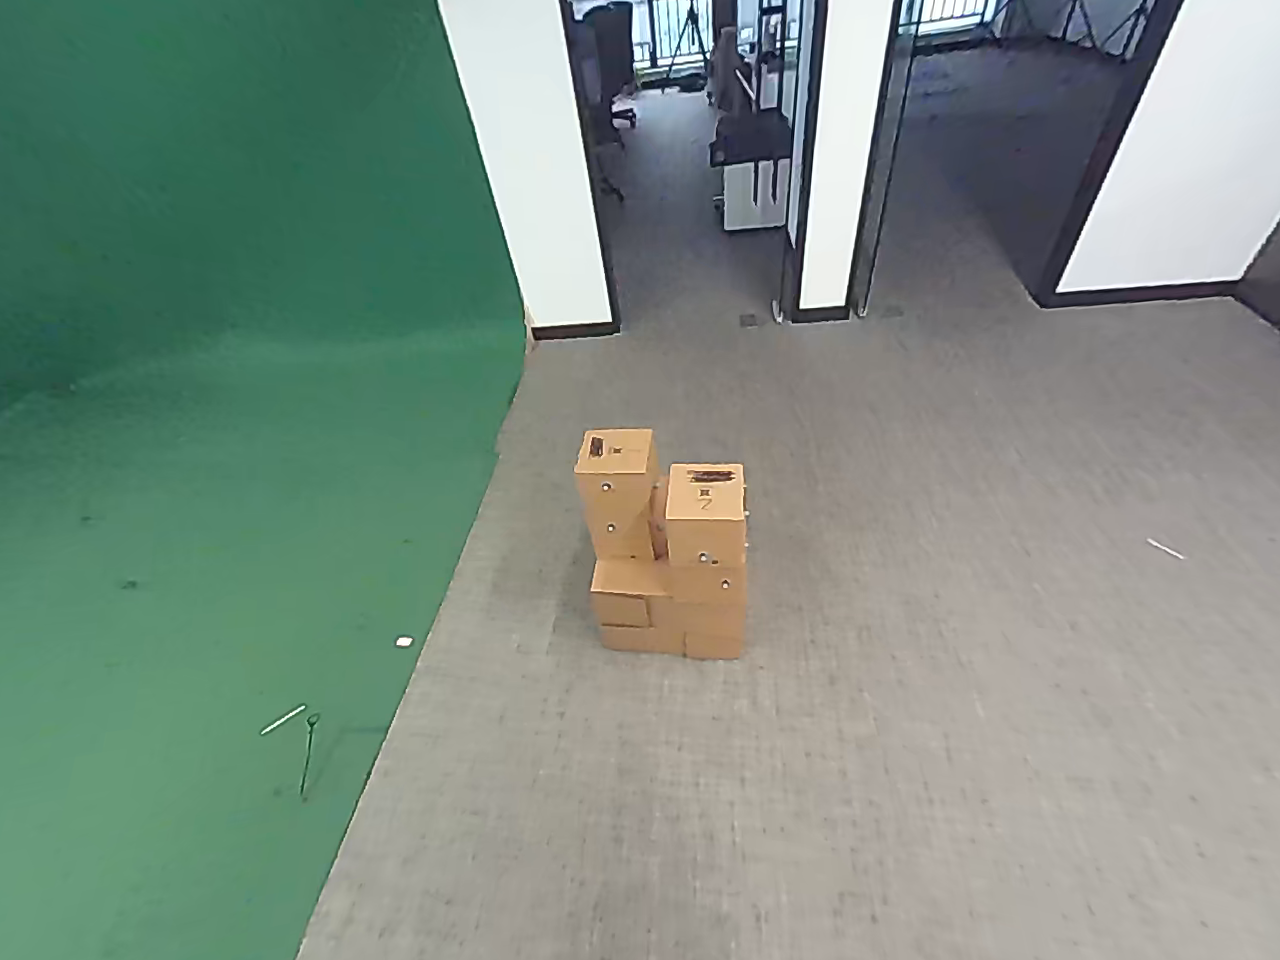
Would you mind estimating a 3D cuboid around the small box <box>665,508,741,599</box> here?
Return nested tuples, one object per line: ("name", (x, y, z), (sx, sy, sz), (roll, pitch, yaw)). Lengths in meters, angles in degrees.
("small box", (0.161, 0.186, 1.361), (0.179, 0.176, 0.168), (-1, 44, 8))

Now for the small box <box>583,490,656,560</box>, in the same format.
("small box", (-0.049, 0.098, 1.488), (0.168, 0.176, 0.179), (0, 43, 10))

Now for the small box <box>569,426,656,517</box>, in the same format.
("small box", (-0.063, -0.019, 1.370), (0.179, 0.176, 0.168), (-1, 44, 10))
